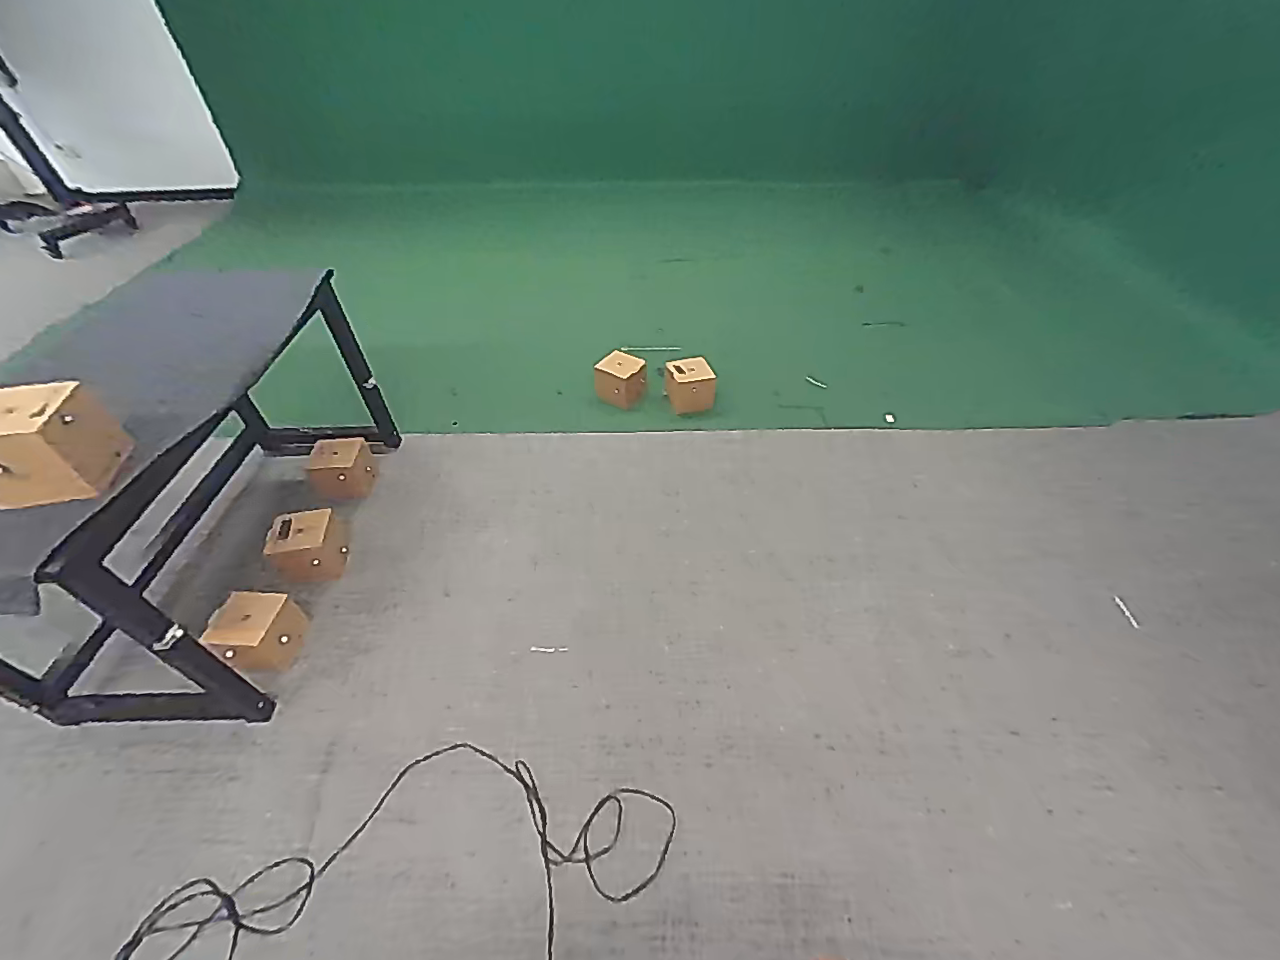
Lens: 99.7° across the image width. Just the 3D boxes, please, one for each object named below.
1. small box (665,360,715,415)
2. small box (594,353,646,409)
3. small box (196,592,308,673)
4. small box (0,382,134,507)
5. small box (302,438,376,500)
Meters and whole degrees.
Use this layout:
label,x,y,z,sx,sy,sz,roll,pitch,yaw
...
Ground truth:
label,x,y,z,sx,sy,sz,roll,pitch,yaw
small box,0.217,-0.403,2.378,0.179,0.176,0.168,-11,46,-11
small box,-0.086,-0.439,2.421,0.179,0.176,0.168,25,50,25
small box,-1.110,0.445,1.568,0.179,0.176,0.168,2,46,4
small box,-1.159,-0.065,1.046,0.179,0.176,0.168,-9,46,-8
small box,-1.128,-0.040,2.044,0.179,0.176,0.168,-4,45,-3
